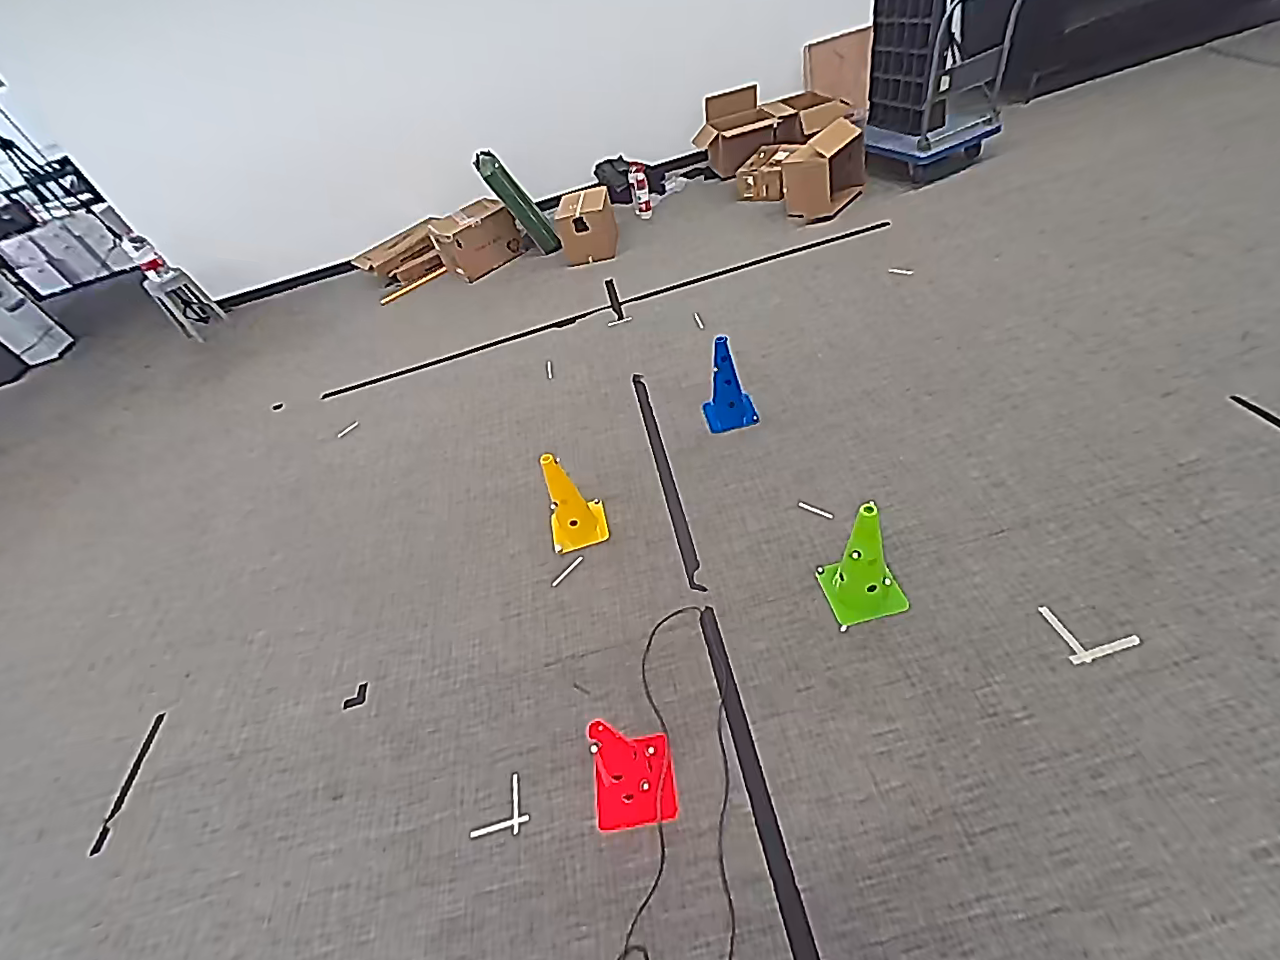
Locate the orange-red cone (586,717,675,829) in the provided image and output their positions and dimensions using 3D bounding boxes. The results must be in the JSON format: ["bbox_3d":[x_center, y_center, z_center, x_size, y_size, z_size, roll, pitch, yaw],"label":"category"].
[{"bbox_3d":[-0.055,0.627,1.228,0.199,0.360,0.198,-14,43,6],"label":"orange-red cone"}]

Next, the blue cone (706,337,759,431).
[{"bbox_3d":[0.341,-0.387,2.108,0.192,0.380,0.193,-13,45,4],"label":"blue cone"}]

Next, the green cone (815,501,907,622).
[{"bbox_3d":[0.599,0.192,1.441,0.202,0.368,0.200,-15,44,1],"label":"green cone"}]
